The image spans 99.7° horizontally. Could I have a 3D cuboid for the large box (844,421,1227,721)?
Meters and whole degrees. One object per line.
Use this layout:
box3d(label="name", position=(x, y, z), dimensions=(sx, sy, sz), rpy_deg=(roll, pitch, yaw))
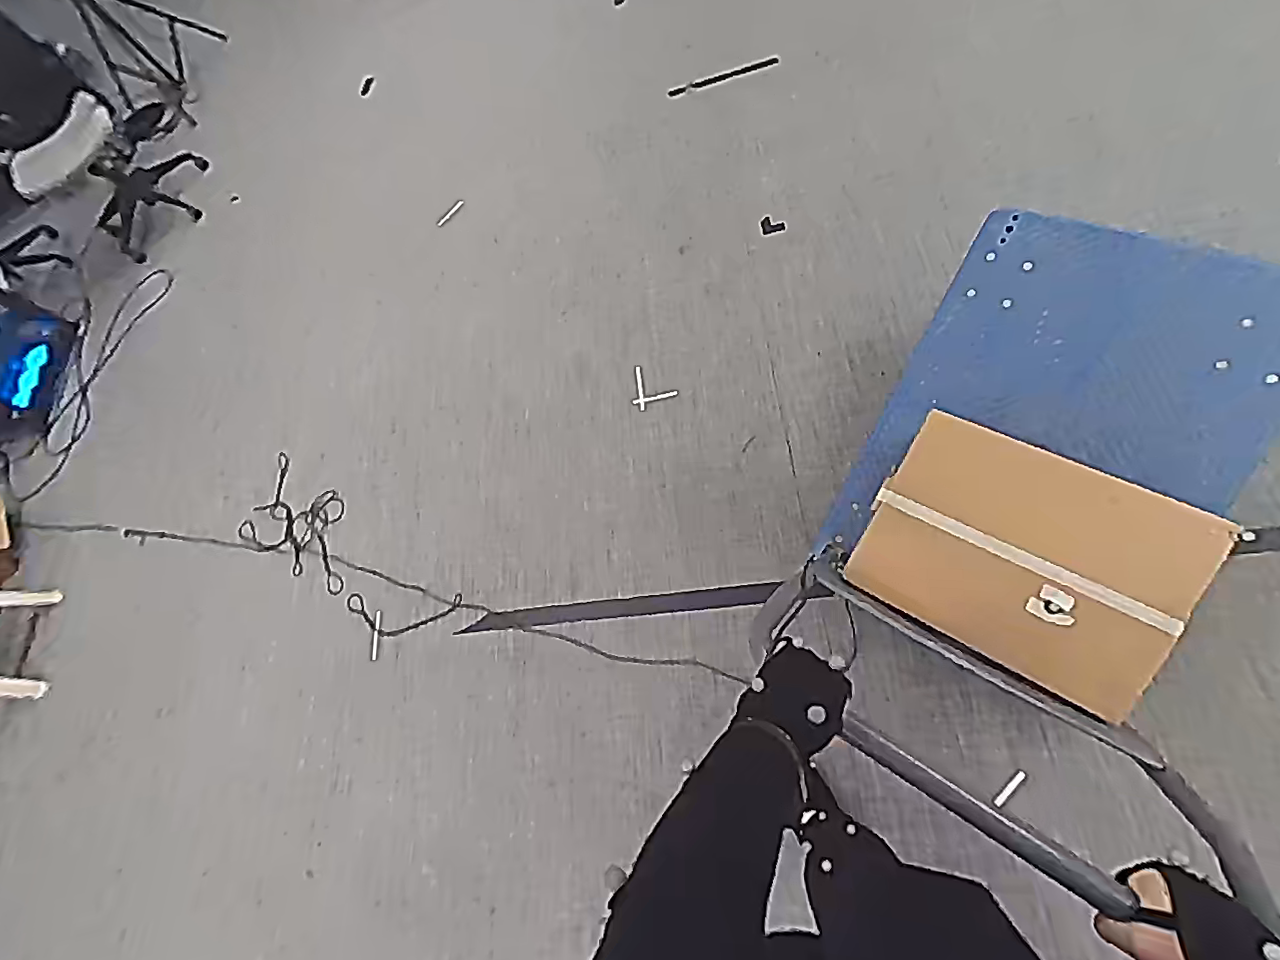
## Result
box3d(label="large box", position=(0.622, 0.132, 0.953), dimensions=(0.408, 0.320, 0.320), rpy_deg=(29, 98, 23))
